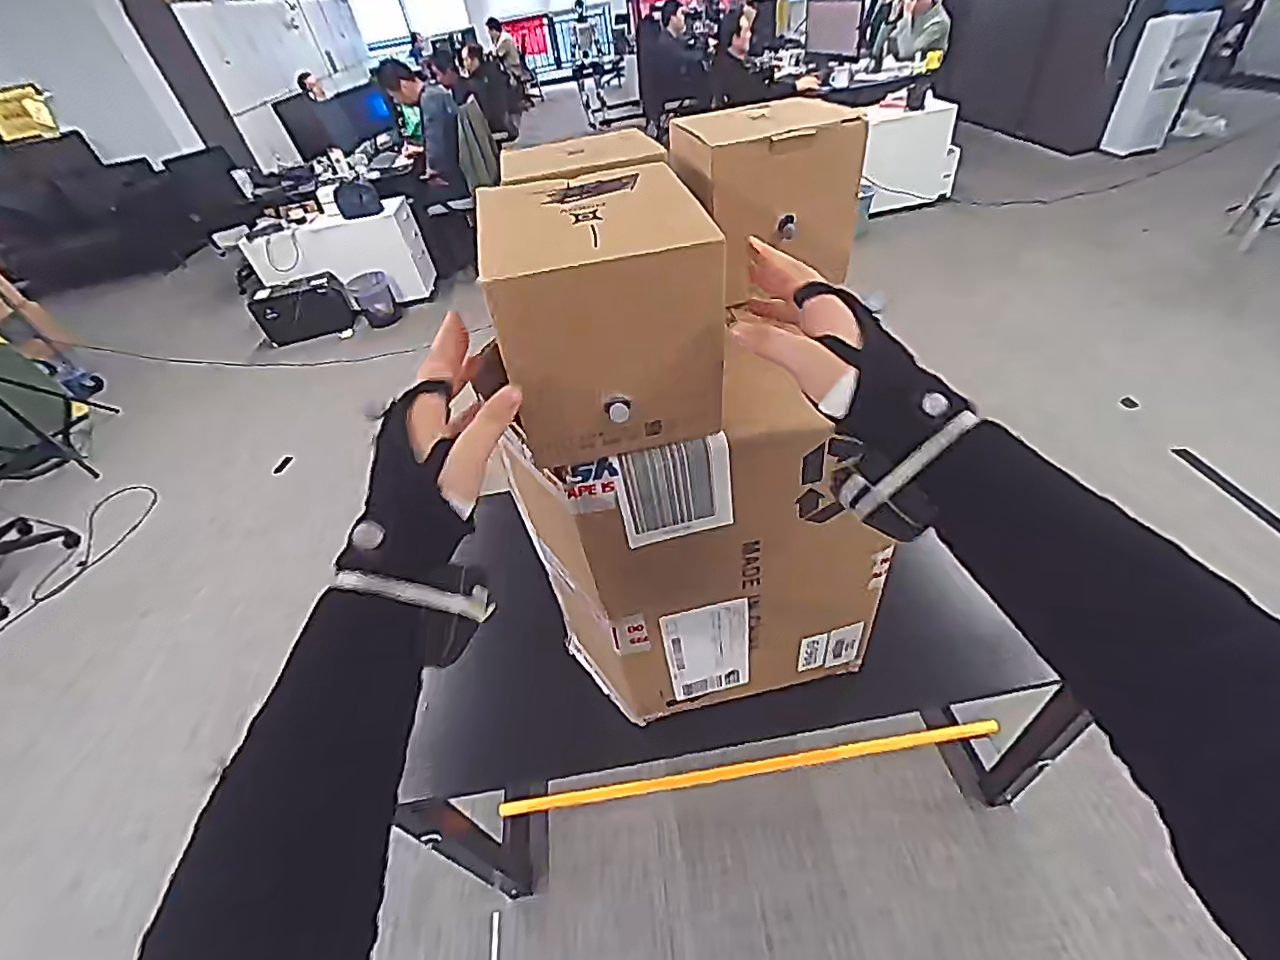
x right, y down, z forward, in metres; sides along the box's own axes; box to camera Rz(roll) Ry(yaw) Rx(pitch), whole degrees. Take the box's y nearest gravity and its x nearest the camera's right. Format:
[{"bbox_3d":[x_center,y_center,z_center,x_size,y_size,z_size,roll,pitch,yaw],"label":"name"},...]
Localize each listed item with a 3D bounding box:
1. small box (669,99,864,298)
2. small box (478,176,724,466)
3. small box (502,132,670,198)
[{"bbox_3d":[0.137,-0.328,0.642,0.168,0.176,0.179,-12,42,-5],"label":"small box"},{"bbox_3d":[-0.033,-0.139,0.467,0.168,0.176,0.179,-12,45,-5],"label":"small box"},{"bbox_3d":[-0.058,-0.289,0.638,0.168,0.176,0.179,-14,41,-4],"label":"small box"}]
